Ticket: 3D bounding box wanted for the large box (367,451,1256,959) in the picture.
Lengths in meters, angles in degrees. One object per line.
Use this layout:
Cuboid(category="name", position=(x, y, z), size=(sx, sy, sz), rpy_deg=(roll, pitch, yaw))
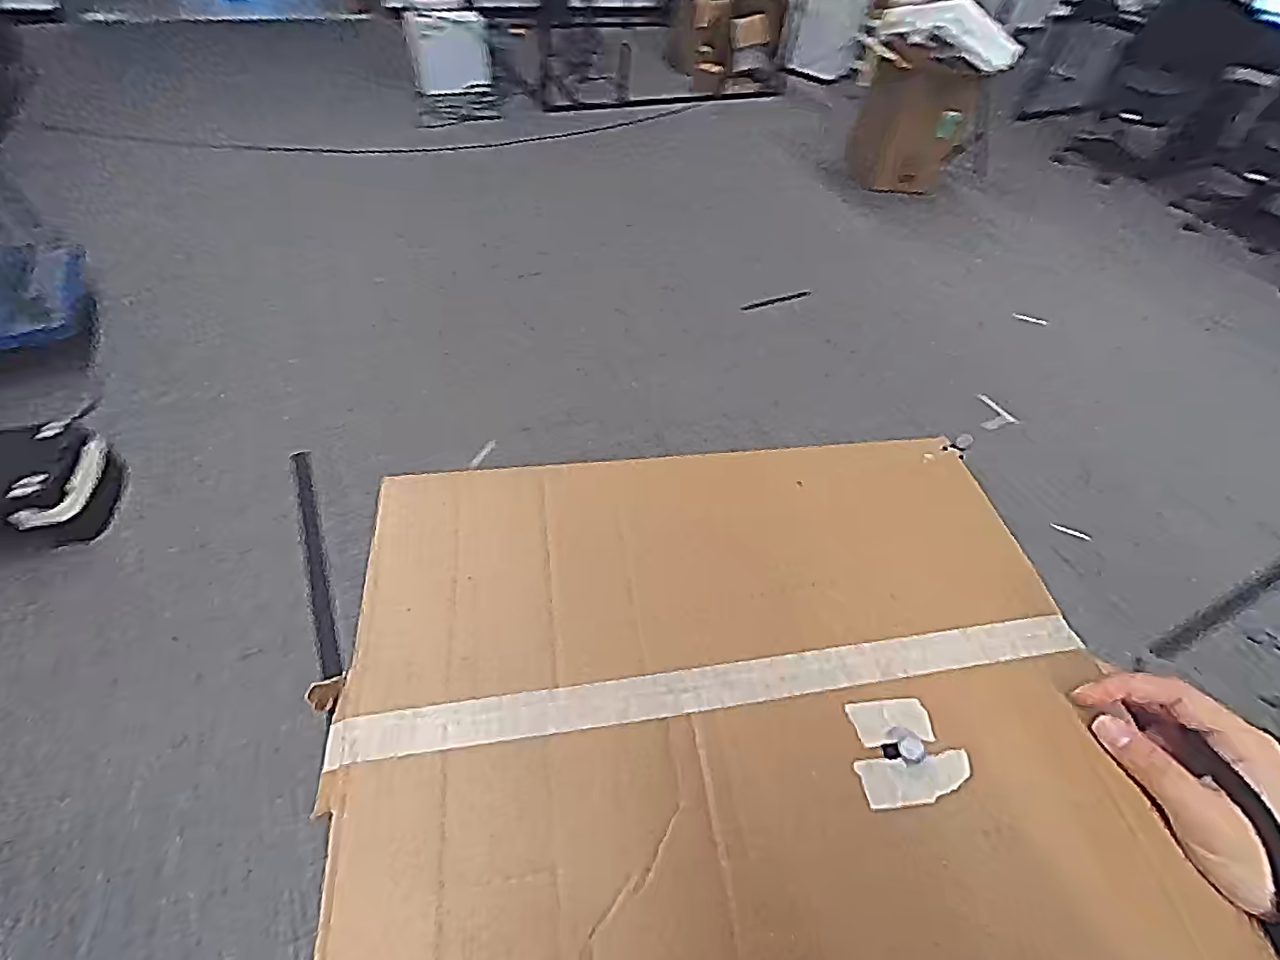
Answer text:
Cuboid(category="large box", position=(0.054, 0.201, 0.420), size=(0.408, 0.320, 0.320), rpy_deg=(-3, 55, -10))
